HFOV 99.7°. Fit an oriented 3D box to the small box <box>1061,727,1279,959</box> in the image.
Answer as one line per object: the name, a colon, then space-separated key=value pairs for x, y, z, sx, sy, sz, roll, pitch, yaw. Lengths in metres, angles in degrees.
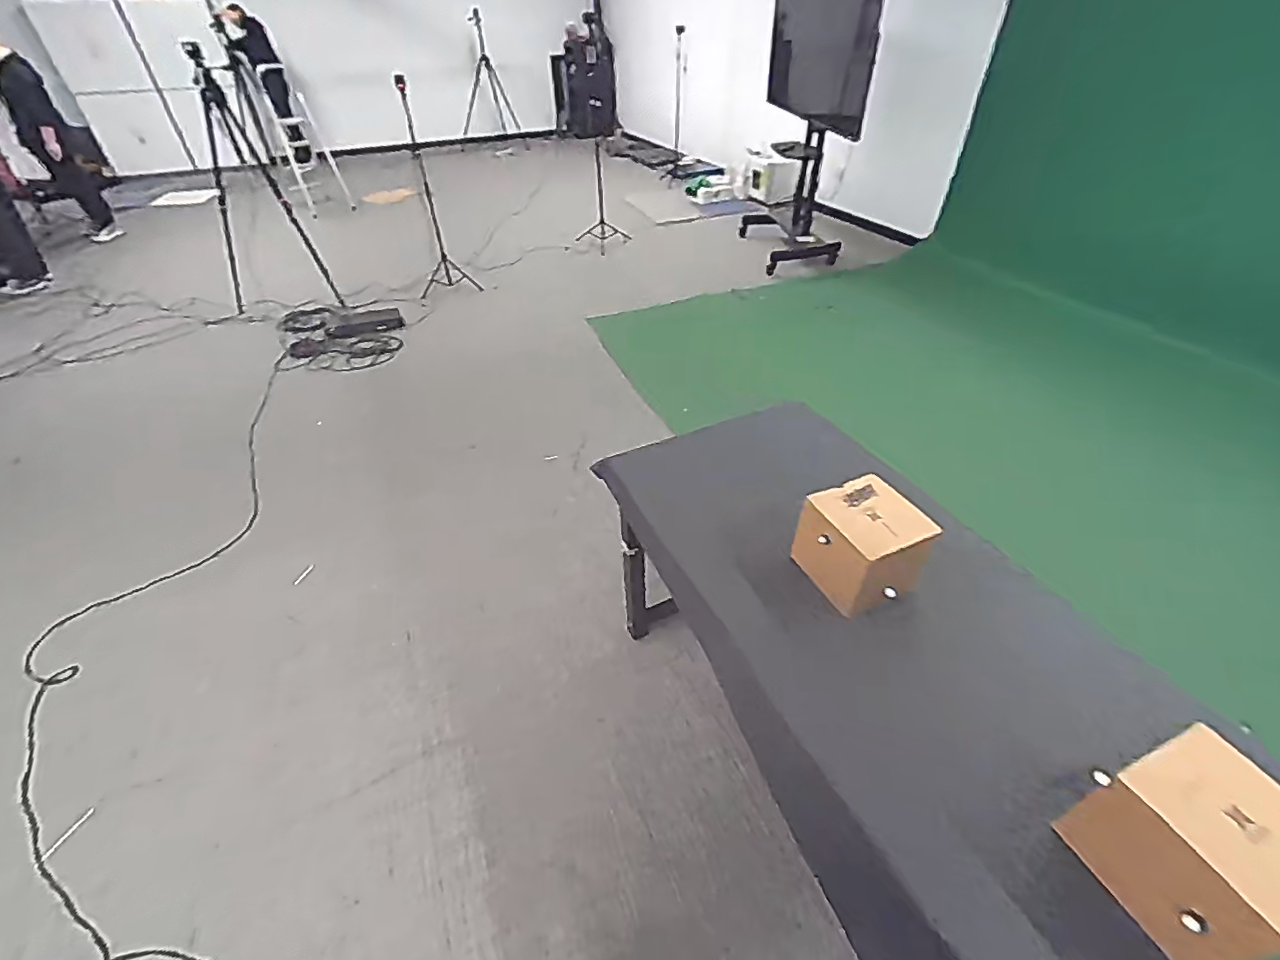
small box: x=0.666 y=0.438 z=0.640 sx=0.168 sy=0.176 sz=0.179 roll=-16 pitch=41 yaw=-17

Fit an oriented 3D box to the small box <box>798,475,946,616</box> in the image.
small box: x=0.422 y=0.122 z=1.019 sx=0.168 sy=0.176 sz=0.179 roll=-17 pitch=44 yaw=-17
